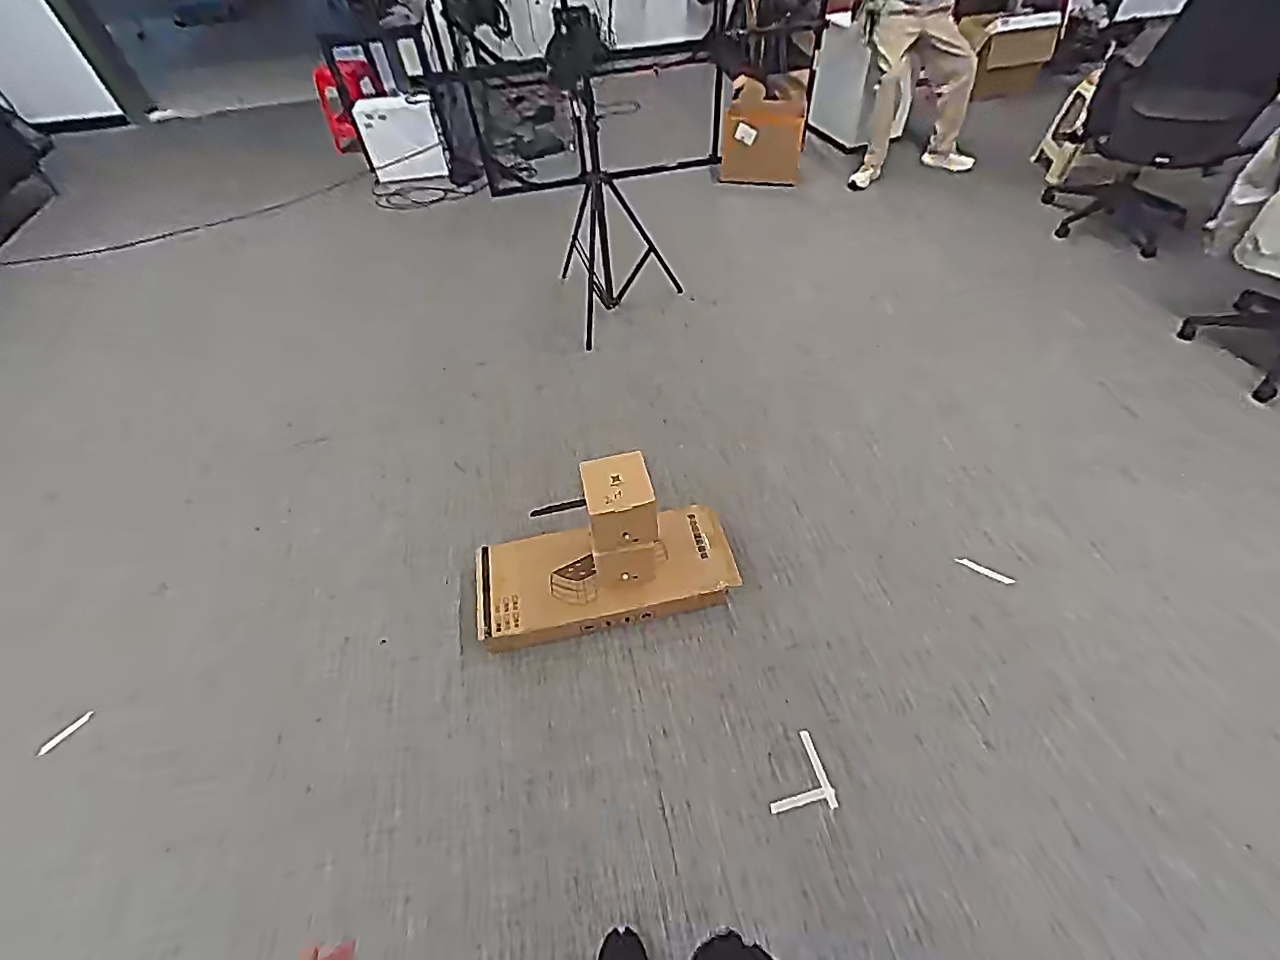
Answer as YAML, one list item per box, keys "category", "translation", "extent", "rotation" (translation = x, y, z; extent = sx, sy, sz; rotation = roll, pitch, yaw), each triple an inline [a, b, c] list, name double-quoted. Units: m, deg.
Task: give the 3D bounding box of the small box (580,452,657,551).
- category: "small box"
  translation: [-0.055, 0.057, 1.406]
  extent: [0.168, 0.176, 0.179]
  rotation: [-12, 51, -5]

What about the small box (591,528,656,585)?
- category: "small box"
  translation: [-0.049, 0.173, 1.525]
  extent: [0.168, 0.176, 0.179]
  rotation: [-9, 52, -3]
